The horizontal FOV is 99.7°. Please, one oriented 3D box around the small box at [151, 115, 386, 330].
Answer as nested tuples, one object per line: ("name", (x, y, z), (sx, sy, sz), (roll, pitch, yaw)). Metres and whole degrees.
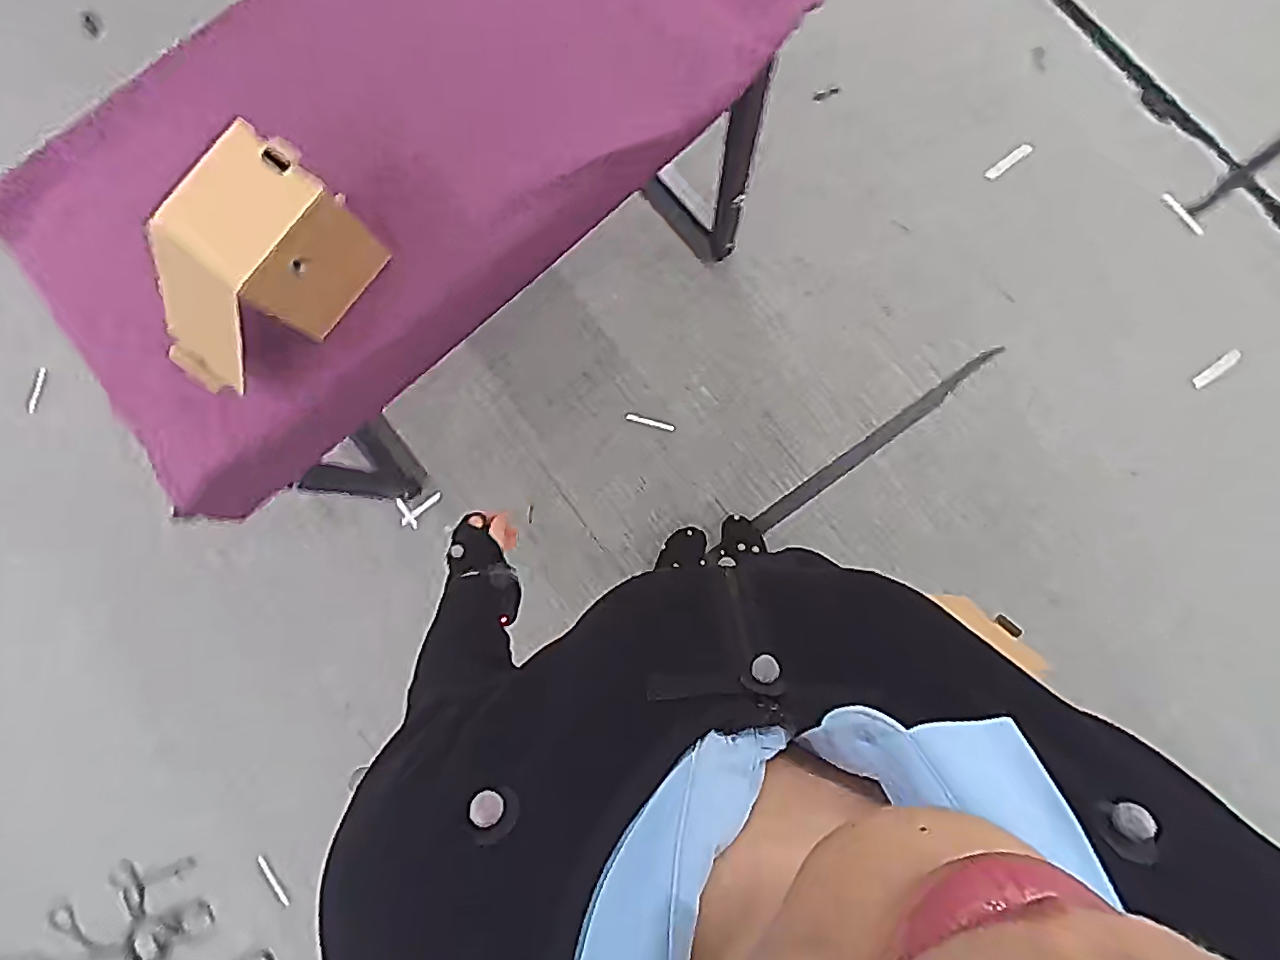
("small box", (-0.500, -0.343, 0.758), (0.168, 0.176, 0.179), (39, 88, 6))
